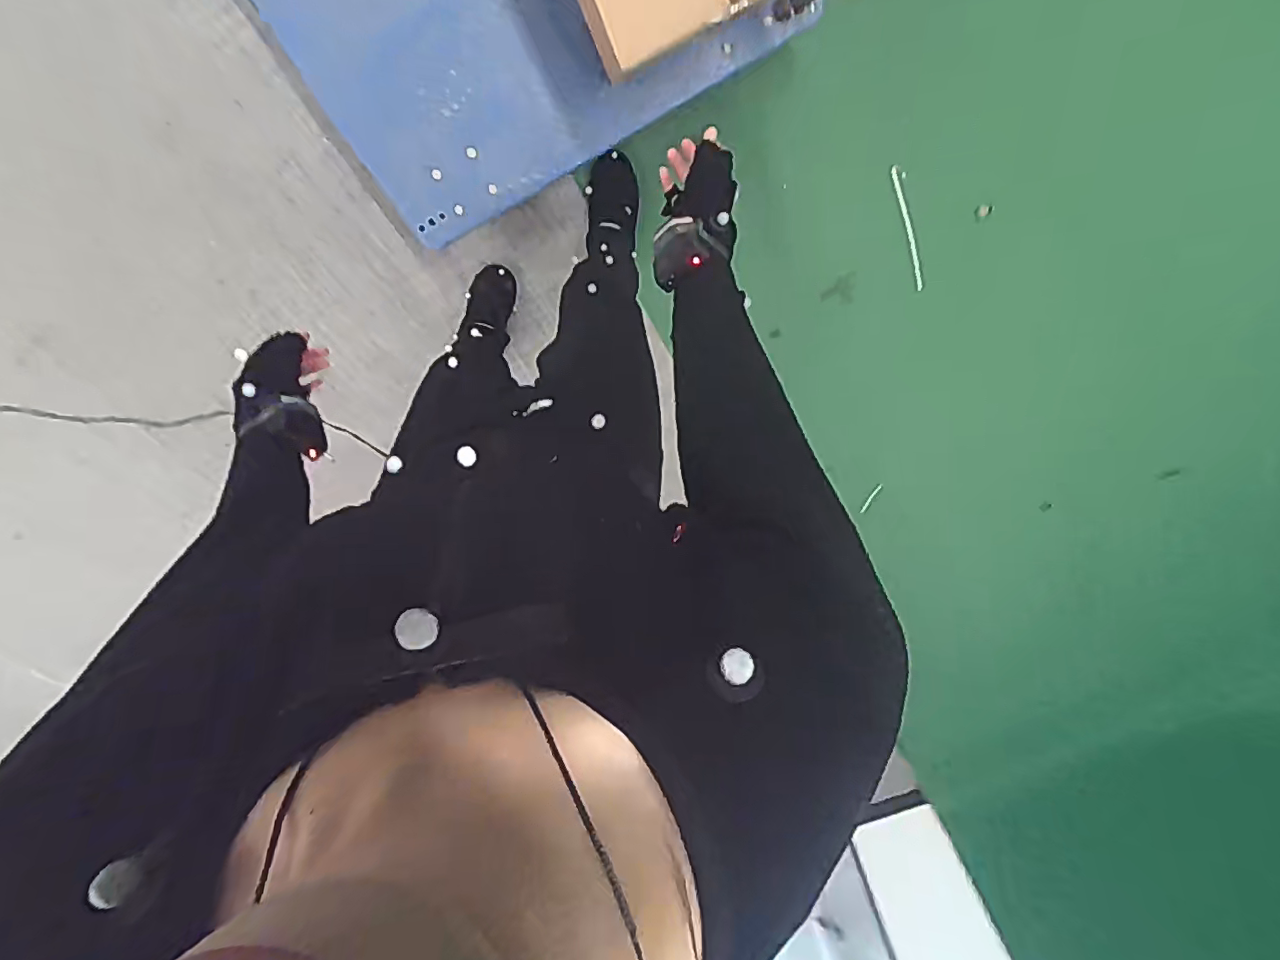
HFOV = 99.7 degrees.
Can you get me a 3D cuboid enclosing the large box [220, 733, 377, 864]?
[{"bbox_3d":[-1.403,1.334,2.265,0.320,0.320,0.408,-25,124,12],"label":"large box"}]
